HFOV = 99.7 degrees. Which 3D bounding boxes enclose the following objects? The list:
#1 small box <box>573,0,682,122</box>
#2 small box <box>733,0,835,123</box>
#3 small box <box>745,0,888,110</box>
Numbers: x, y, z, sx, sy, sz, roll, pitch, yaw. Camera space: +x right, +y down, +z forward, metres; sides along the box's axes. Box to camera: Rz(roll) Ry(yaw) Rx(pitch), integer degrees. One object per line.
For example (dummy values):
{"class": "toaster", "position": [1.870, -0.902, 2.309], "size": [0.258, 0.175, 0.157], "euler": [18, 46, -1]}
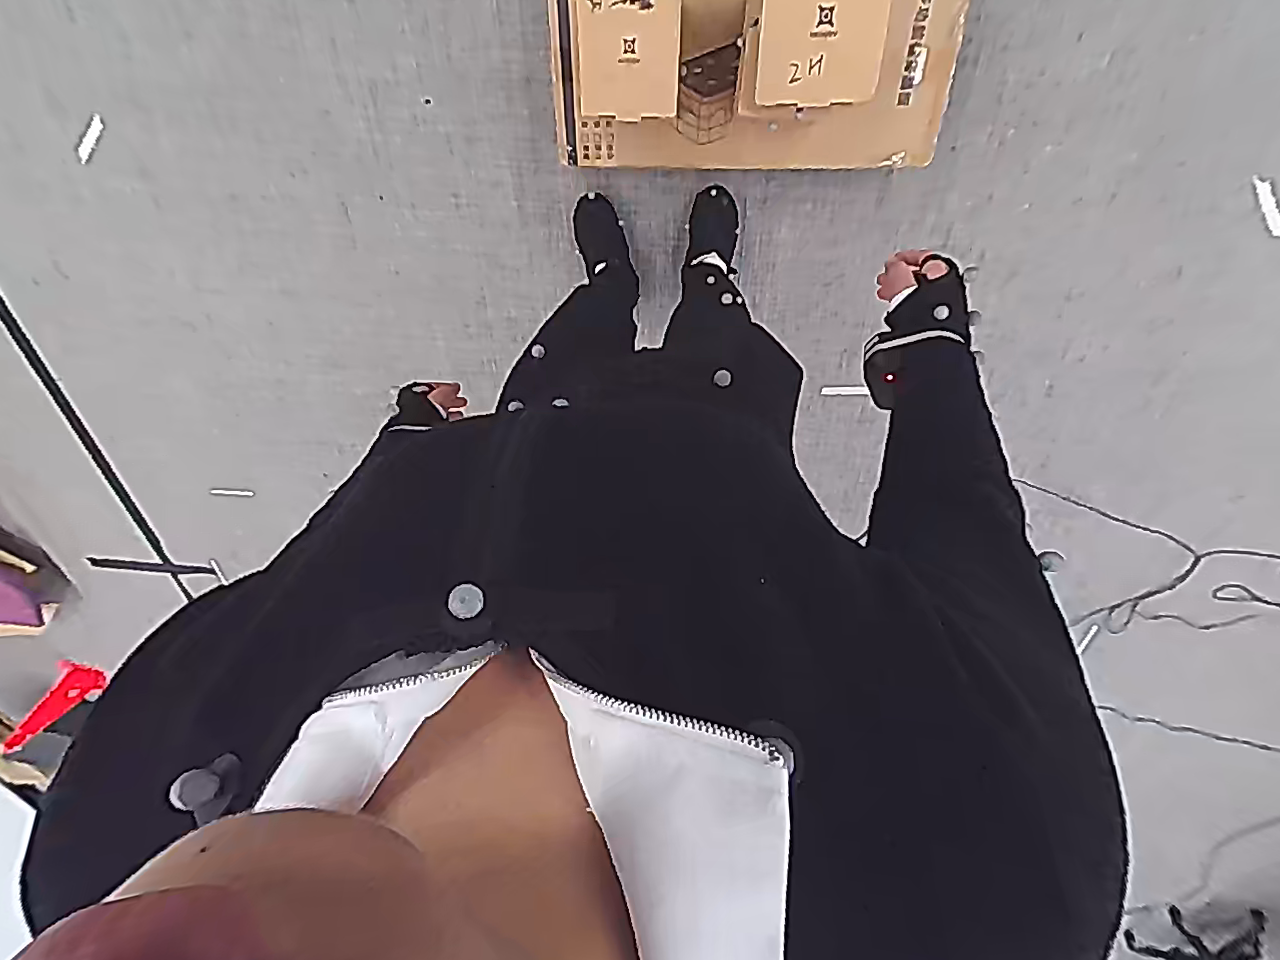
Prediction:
{"class": "small box", "position": [-0.016, -0.733, 0.939], "size": [0.168, 0.176, 0.179], "euler": [4, 125, 5]}
{"class": "small box", "position": [0.253, -0.720, 0.922], "size": [0.168, 0.176, 0.179], "euler": [6, 124, 3]}
{"class": "small box", "position": [0.244, -0.642, 0.776], "size": [0.168, 0.176, 0.179], "euler": [2, 123, 5]}
